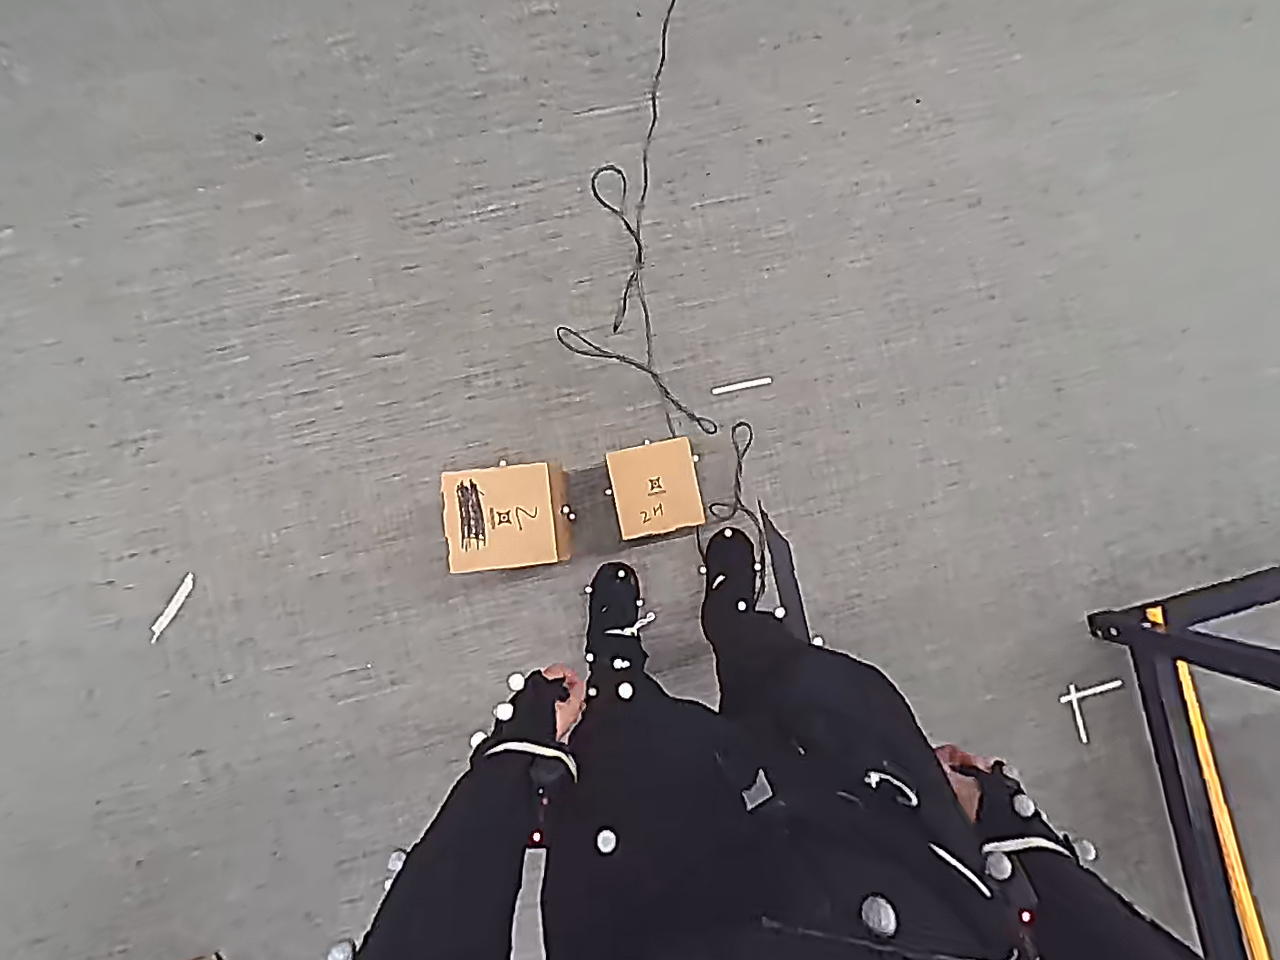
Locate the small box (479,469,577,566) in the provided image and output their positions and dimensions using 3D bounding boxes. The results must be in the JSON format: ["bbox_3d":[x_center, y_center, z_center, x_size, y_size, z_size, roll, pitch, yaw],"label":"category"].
[{"bbox_3d":[-0.224,0.073,1.112,0.168,0.176,0.179,-6,90,-2],"label":"small box"}]

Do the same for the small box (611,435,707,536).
[{"bbox_3d":[0.034,0.013,1.123,0.168,0.176,0.179,-11,90,-1],"label":"small box"}]
